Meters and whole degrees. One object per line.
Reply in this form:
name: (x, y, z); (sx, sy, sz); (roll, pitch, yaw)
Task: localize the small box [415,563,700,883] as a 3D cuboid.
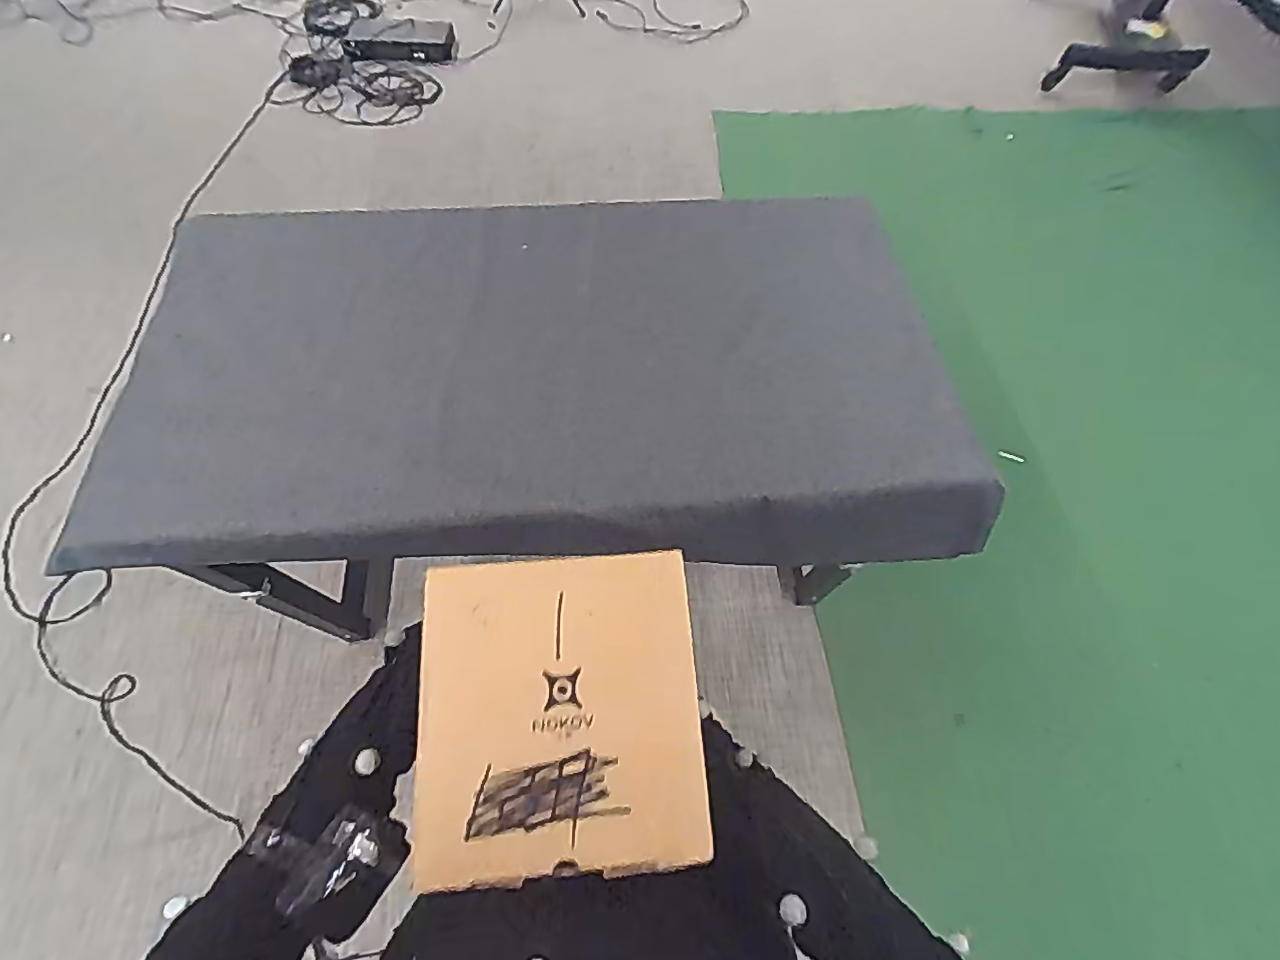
small box: (-0.052, 0.166, 0.407); (0.168, 0.176, 0.179); (-2, 70, -4)
